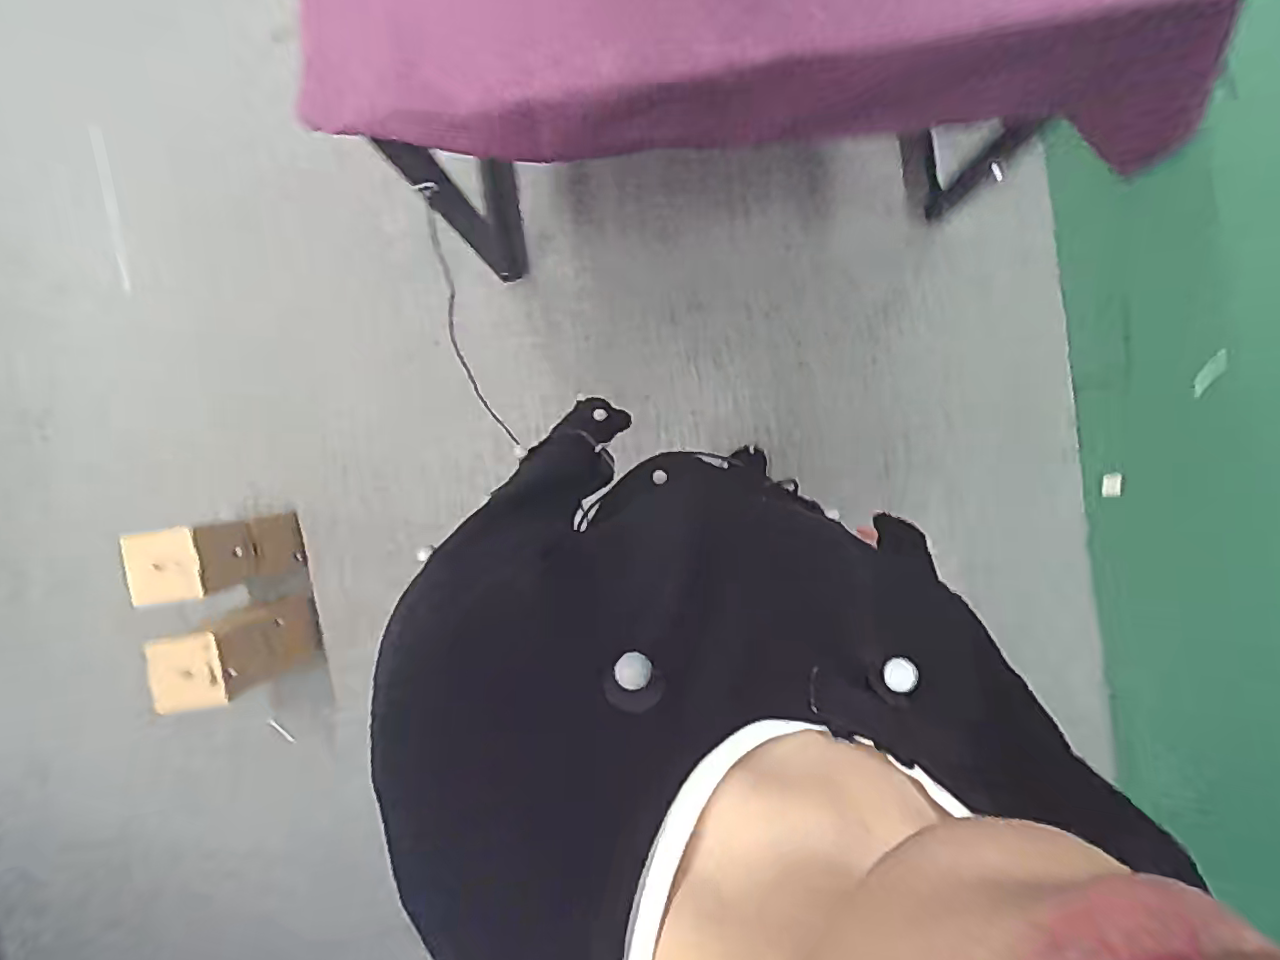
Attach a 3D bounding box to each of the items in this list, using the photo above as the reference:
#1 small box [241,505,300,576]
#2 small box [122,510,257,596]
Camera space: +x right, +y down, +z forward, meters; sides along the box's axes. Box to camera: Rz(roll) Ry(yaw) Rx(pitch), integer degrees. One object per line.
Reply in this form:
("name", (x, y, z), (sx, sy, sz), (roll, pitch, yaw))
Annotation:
("small box", (-1.054, 0.164, 1.461), (0.179, 0.176, 0.168), (-9, 91, 4))
("small box", (-1.071, 0.169, 1.297), (0.179, 0.176, 0.168), (-8, 92, 4))
